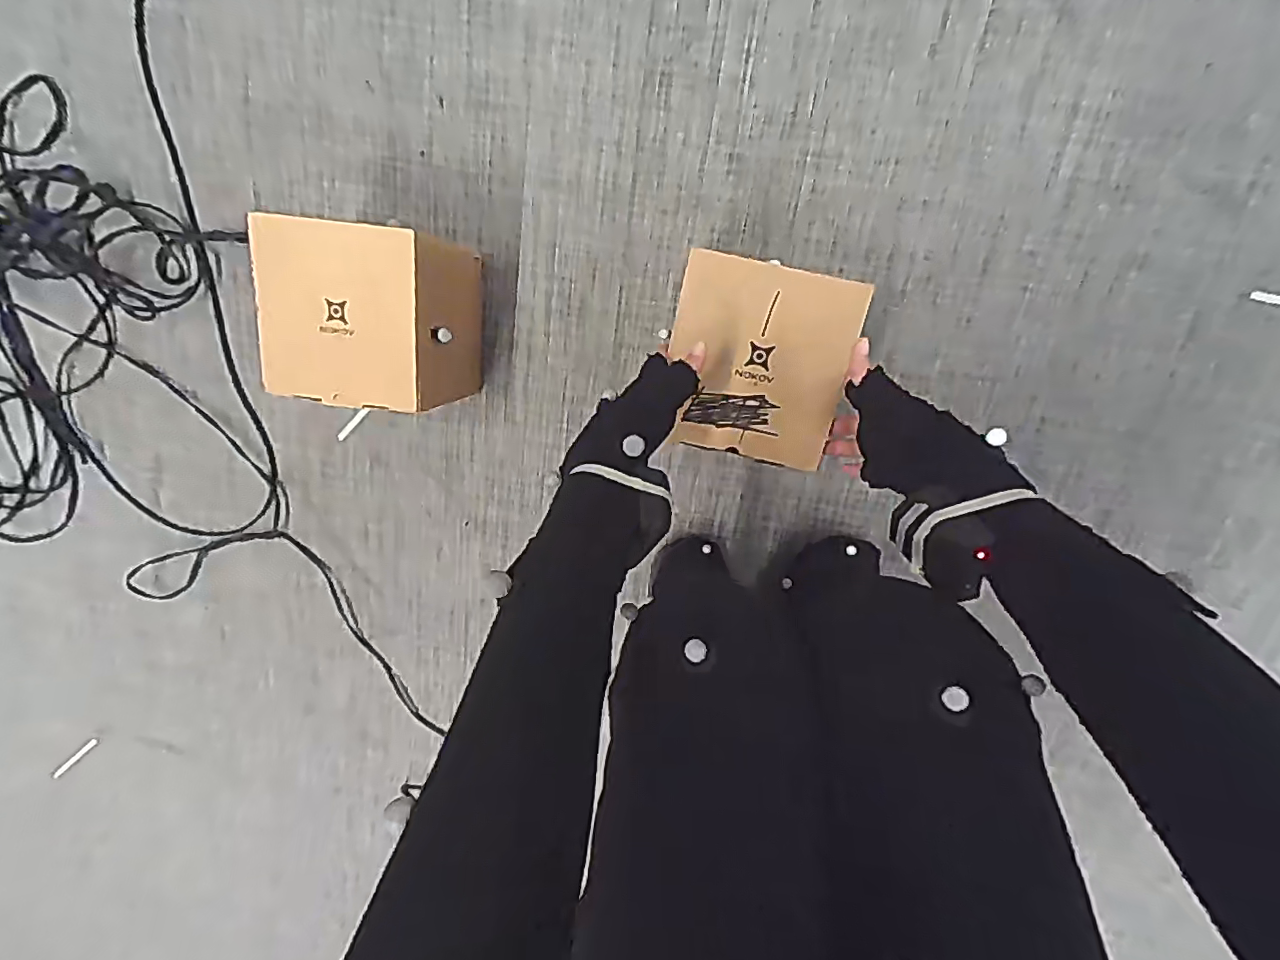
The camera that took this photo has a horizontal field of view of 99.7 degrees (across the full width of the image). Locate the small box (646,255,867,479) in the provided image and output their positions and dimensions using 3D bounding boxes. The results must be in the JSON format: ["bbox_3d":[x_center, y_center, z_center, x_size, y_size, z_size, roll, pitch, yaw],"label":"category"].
[{"bbox_3d":[0.110,-0.121,0.570,0.168,0.176,0.179,13,107,2],"label":"small box"}]

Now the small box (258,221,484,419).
[{"bbox_3d":[-0.288,-0.178,0.614,0.168,0.176,0.179,8,108,4],"label":"small box"}]
